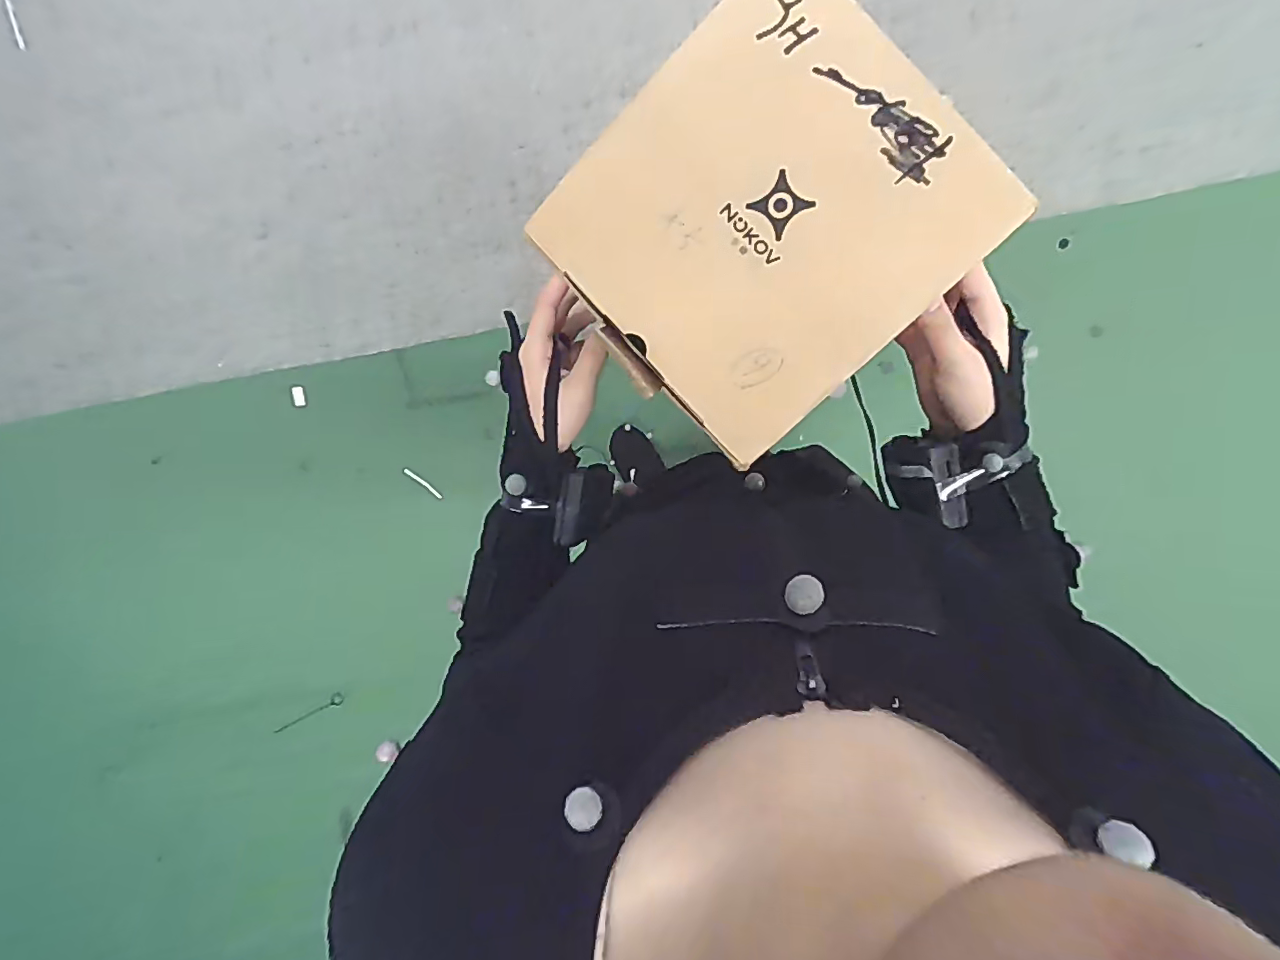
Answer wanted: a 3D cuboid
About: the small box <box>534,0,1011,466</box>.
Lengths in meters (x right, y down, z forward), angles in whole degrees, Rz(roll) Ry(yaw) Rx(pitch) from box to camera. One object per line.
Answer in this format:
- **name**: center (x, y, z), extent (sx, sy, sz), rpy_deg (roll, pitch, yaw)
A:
- **small box**: center (0.070, -0.131, 0.345), extent (0.179, 0.176, 0.168), rpy_deg (-43, 90, 11)
